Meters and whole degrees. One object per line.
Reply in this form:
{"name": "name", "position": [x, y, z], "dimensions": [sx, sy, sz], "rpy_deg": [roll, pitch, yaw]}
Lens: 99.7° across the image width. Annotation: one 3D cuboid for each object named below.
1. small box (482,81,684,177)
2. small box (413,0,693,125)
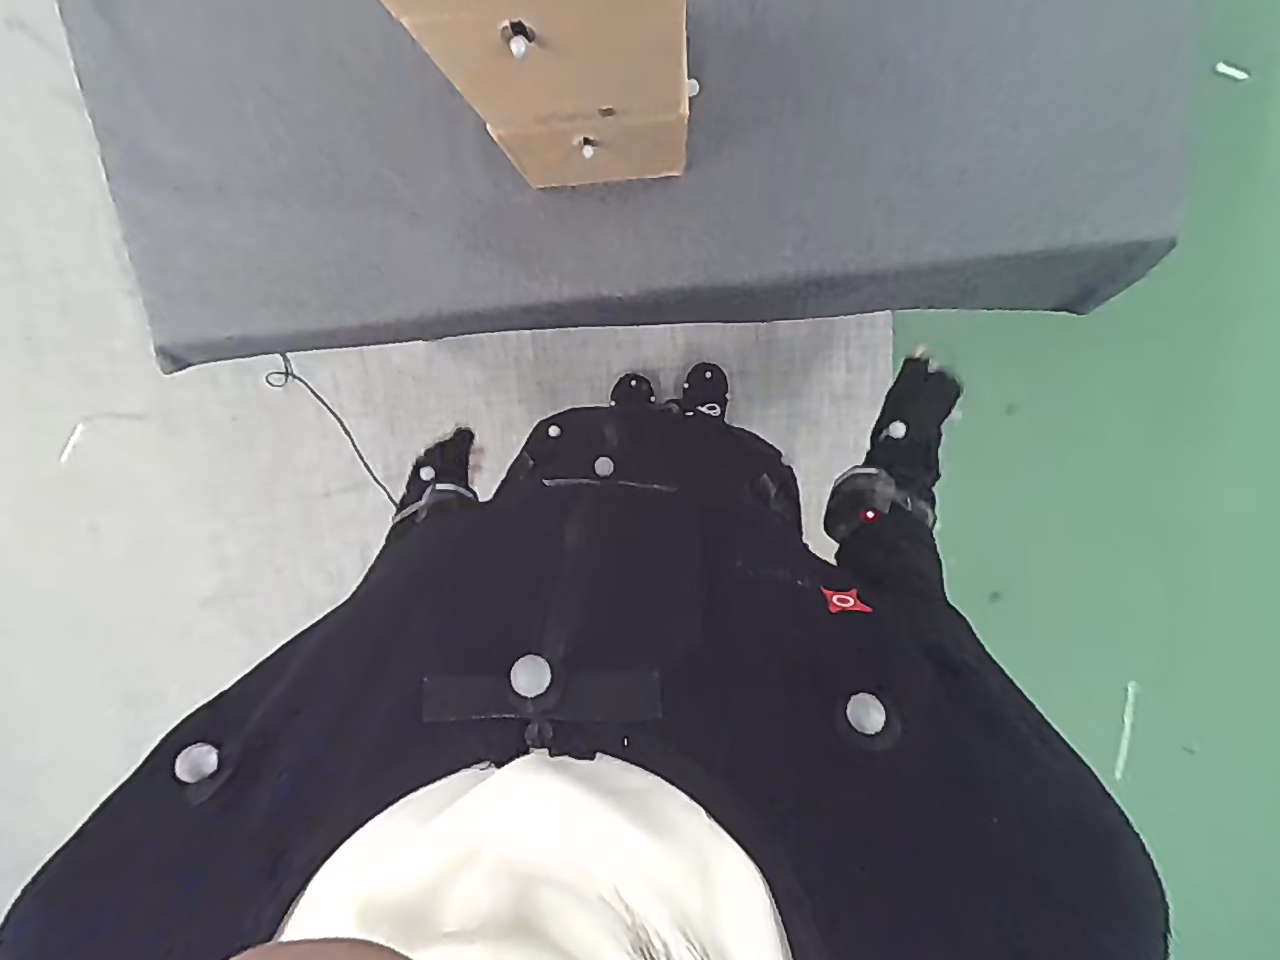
{"name": "small box", "position": [-0.048, -0.411, 0.524], "dimensions": [0.179, 0.176, 0.168], "rpy_deg": [-3, 104, 3]}
{"name": "small box", "position": [-0.055, -0.377, 0.367], "dimensions": [0.168, 0.176, 0.179], "rpy_deg": [-4, 104, 3]}
